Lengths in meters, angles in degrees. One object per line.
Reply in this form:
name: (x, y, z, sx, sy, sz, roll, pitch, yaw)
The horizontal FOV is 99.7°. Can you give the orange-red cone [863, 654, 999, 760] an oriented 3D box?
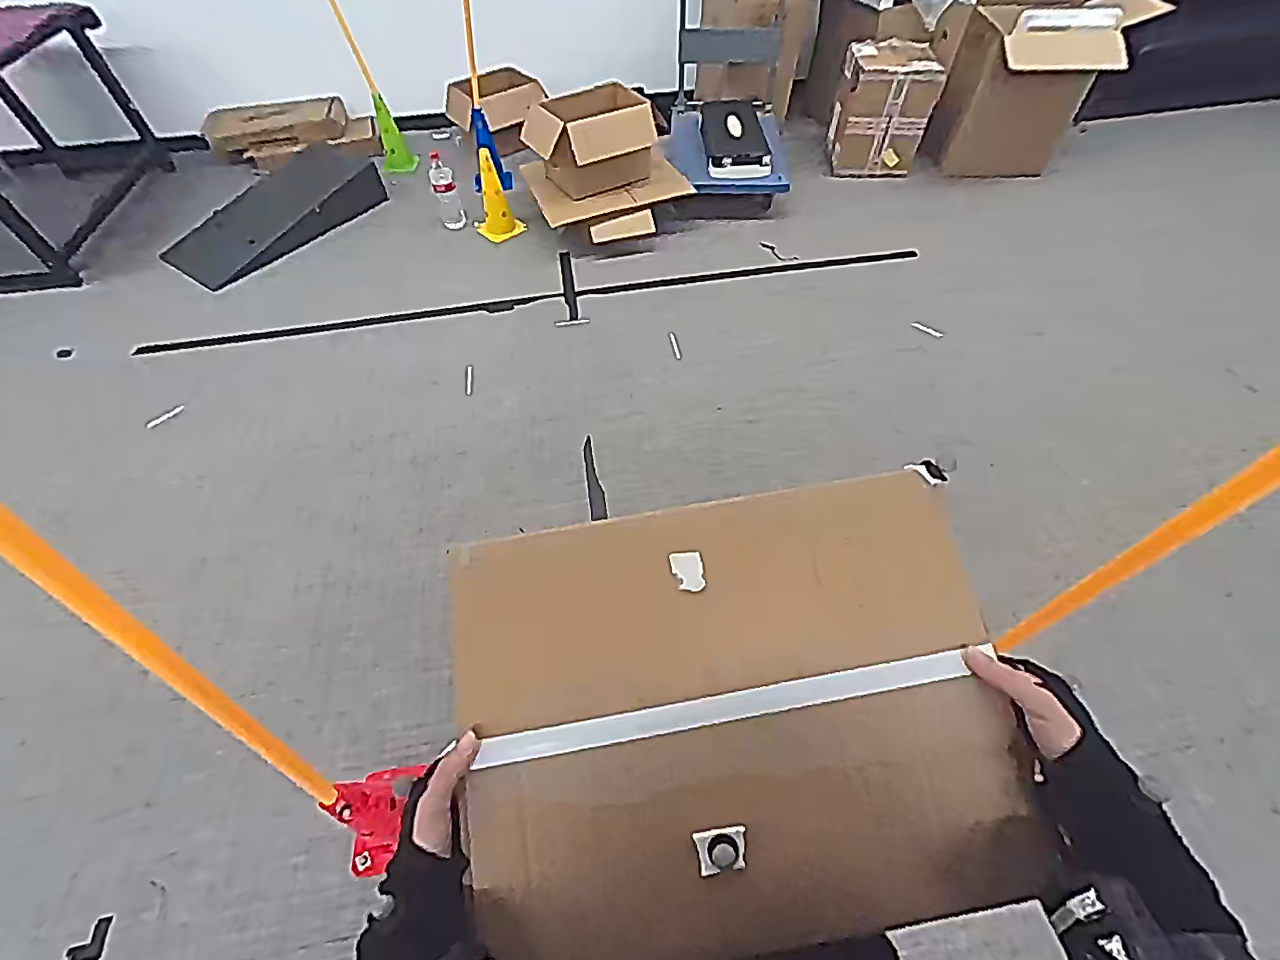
orange-red cone: (0.665, 0.449, 1.169, 0.199, 0.360, 0.198, -15, 55, -11)
